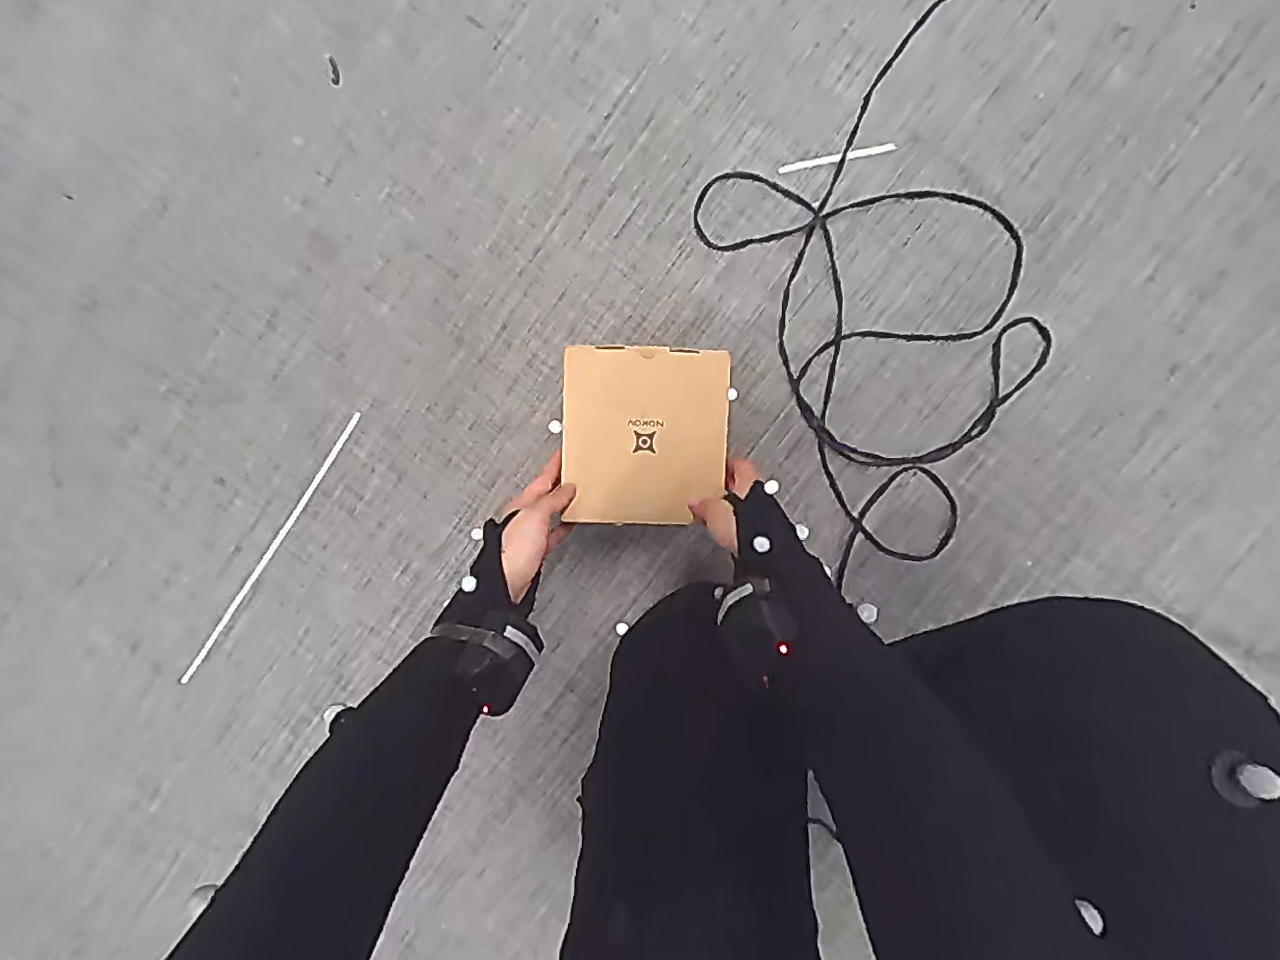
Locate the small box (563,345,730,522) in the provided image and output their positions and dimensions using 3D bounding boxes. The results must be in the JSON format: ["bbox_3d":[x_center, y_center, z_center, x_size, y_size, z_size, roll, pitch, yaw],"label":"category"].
[{"bbox_3d":[0.005,-0.052,0.626,0.168,0.176,0.179,1,94,-2],"label":"small box"}]
